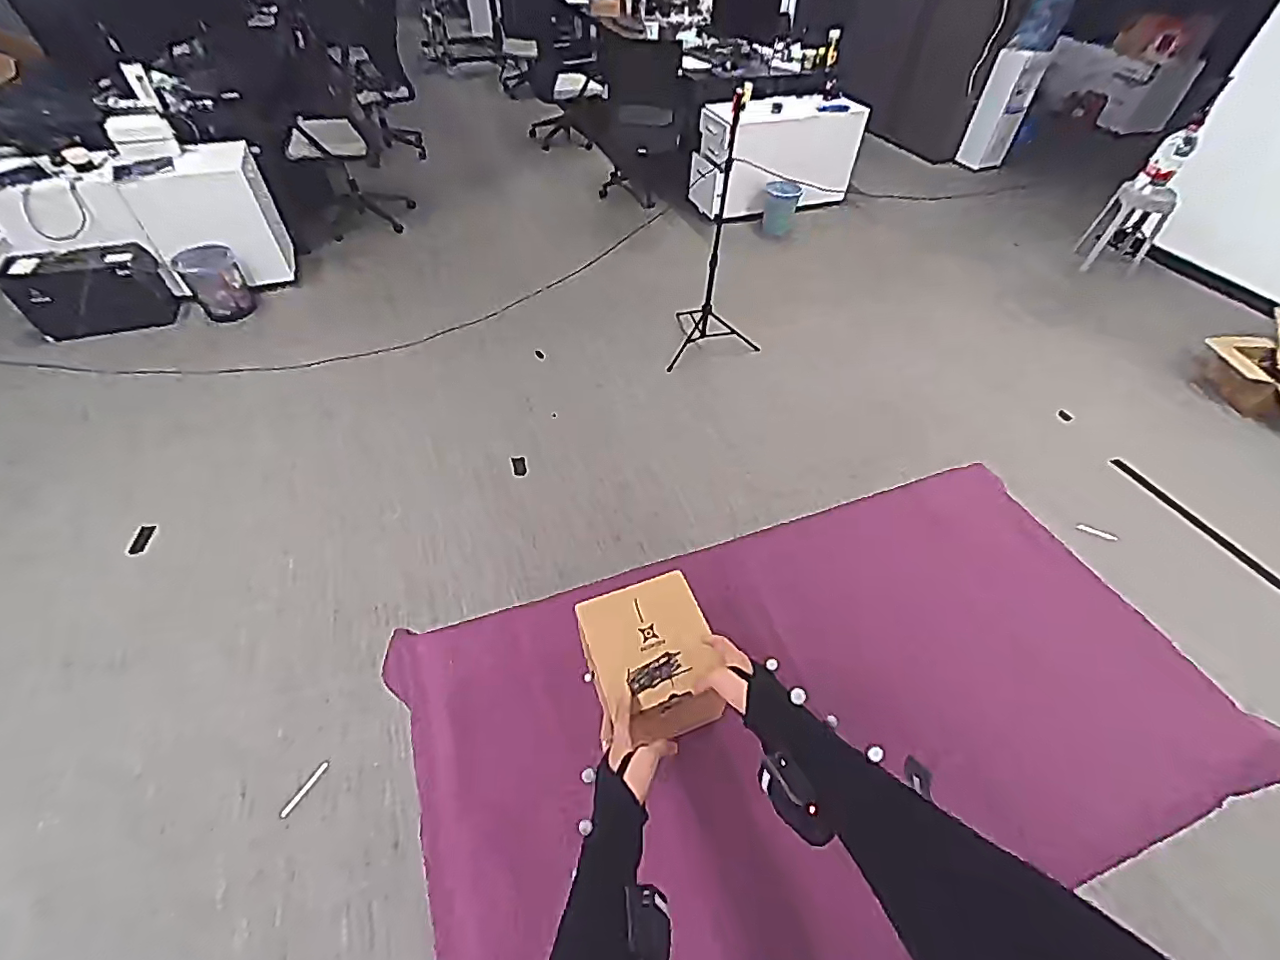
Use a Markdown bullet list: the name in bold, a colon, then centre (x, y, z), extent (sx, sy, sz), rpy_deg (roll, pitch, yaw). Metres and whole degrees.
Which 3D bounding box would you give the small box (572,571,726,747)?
- **small box**: centre (0.011, 0.270, 0.797), extent (0.168, 0.176, 0.179), rpy_deg (-17, 51, -13)
